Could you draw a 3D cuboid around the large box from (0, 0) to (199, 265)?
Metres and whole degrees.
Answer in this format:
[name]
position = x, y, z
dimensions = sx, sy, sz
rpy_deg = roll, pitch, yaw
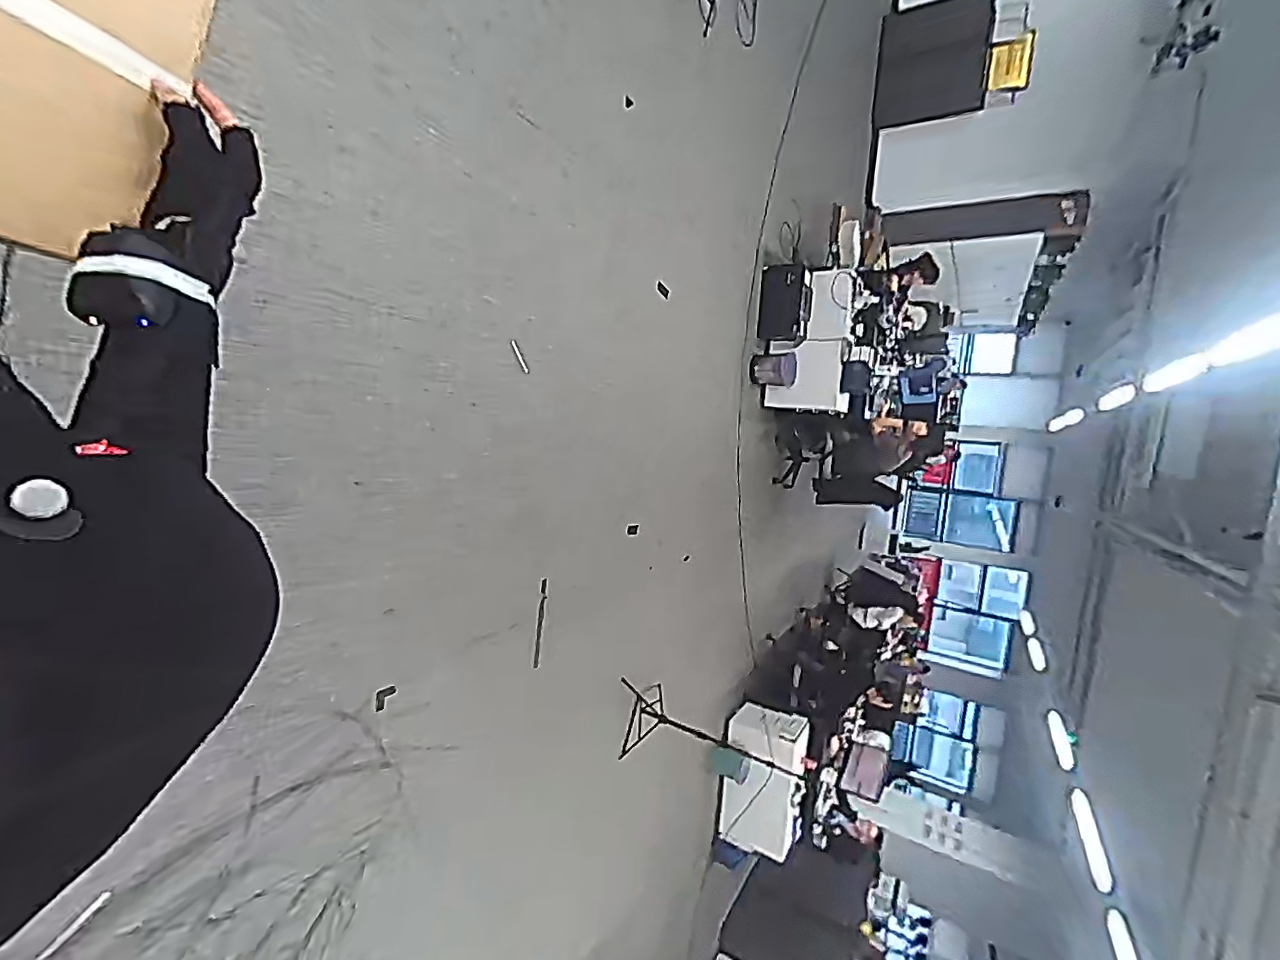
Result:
[large box]
position = -0.608, -0.385, 0.349
dimensions = 0.408, 0.320, 0.320
rpy_deg = 10, 99, -63
